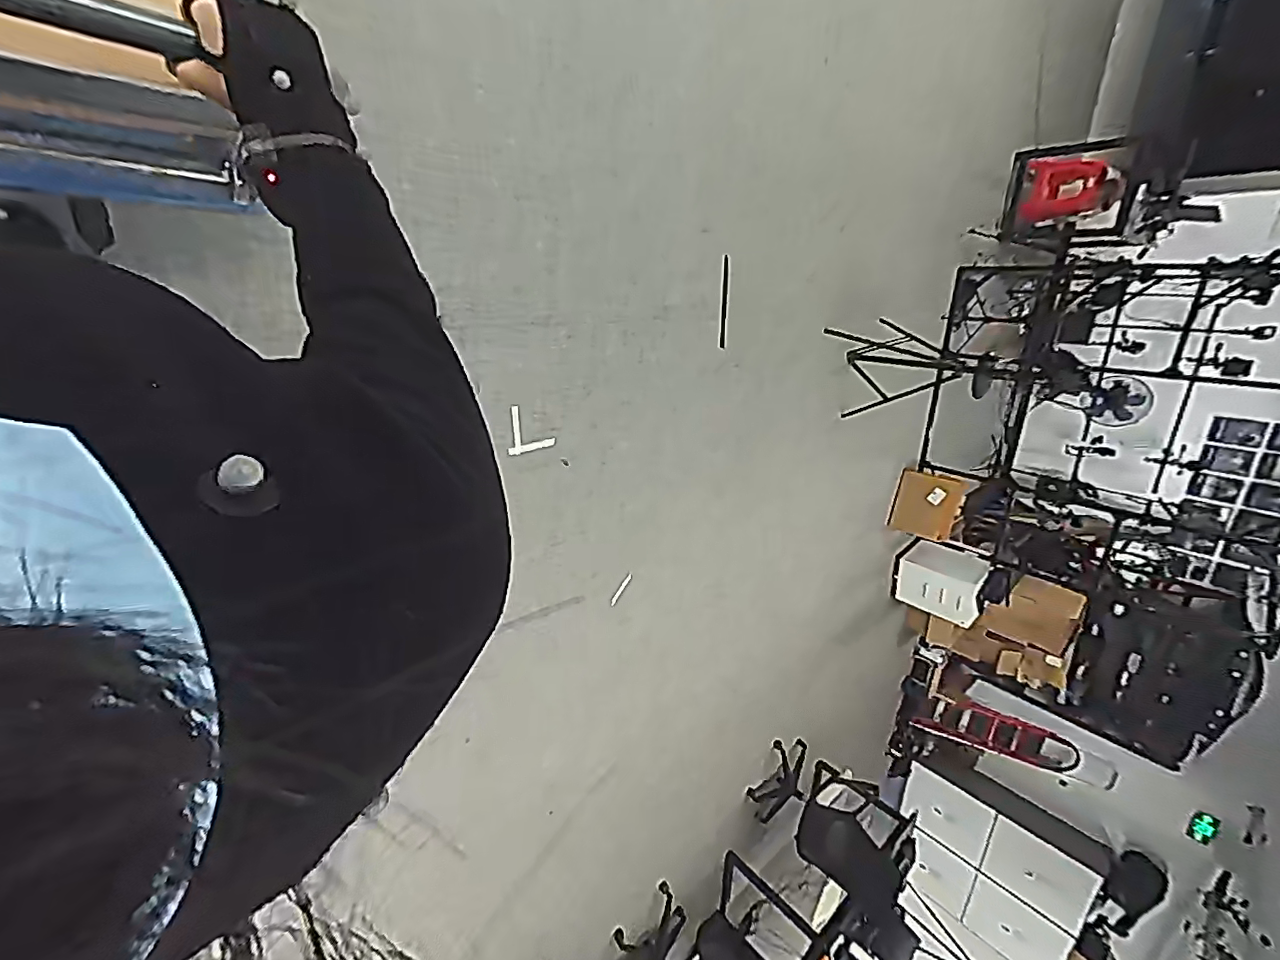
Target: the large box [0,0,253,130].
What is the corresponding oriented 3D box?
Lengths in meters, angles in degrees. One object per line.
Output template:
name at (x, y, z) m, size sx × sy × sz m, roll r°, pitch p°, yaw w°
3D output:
large box at (-0.795, -0.680, 0.687) m, size 0.408 × 0.320 × 0.320 m, roll -18°, pitch 118°, yaw -41°
